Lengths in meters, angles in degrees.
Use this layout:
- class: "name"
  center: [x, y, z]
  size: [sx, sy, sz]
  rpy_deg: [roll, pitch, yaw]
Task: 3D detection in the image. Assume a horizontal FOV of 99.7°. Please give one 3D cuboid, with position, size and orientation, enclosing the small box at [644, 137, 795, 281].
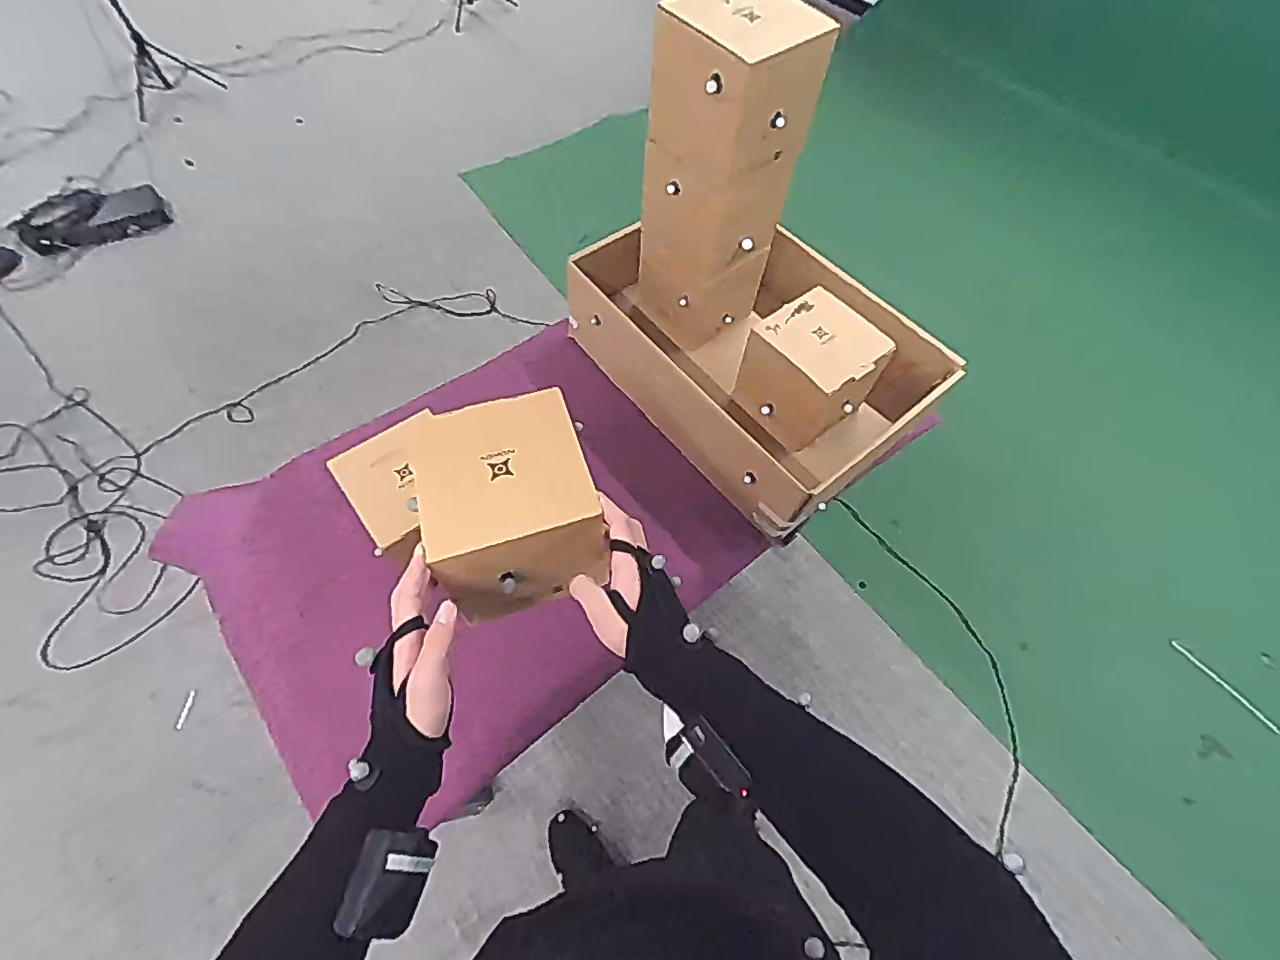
- class: "small box"
  center: [0.120, -0.473, 0.907]
  size: [0.168, 0.176, 0.179]
  rpy_deg: [-36, 70, -19]

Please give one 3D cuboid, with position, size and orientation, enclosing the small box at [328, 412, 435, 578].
- class: "small box"
  center: [-0.342, 0.034, 0.851]
  size: [0.168, 0.176, 0.179]
  rpy_deg: [-34, 68, -21]

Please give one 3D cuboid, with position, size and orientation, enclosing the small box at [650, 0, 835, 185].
- class: "small box"
  center: [0.130, -0.548, 0.759]
  size: [0.168, 0.176, 0.179]
  rpy_deg: [-35, 69, -19]

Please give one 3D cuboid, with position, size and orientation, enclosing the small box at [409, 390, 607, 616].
- class: "small box"
  center: [-0.138, 0.035, 0.601]
  size: [0.168, 0.176, 0.179]
  rpy_deg: [-15, 57, -11]
